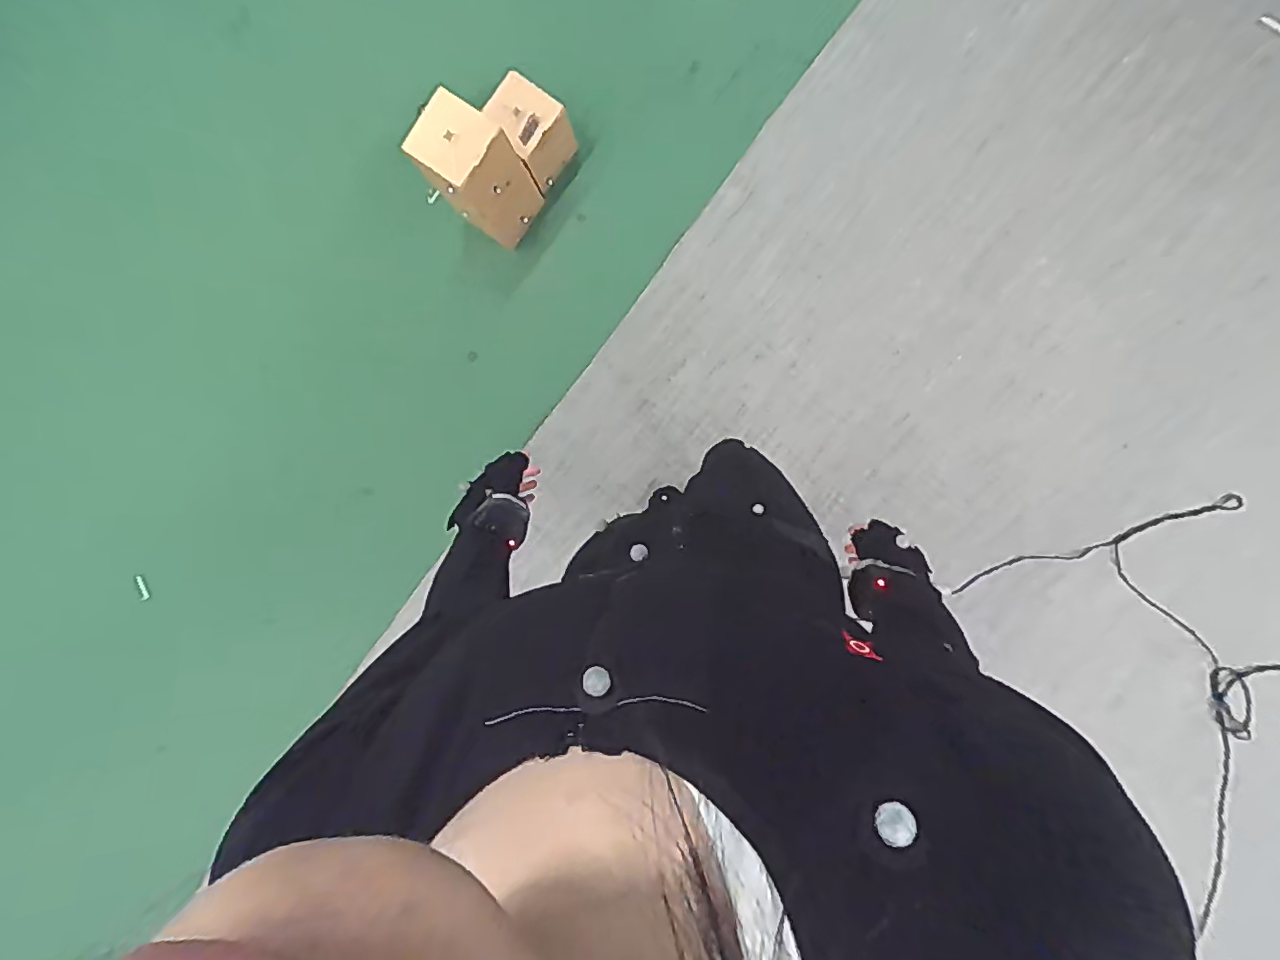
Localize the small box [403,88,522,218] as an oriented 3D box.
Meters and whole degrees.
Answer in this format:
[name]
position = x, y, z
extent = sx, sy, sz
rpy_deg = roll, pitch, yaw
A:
[small box]
position = -0.412, -0.763, 1.283
extent = 0.179, 0.176, 0.168
rpy_deg = 34, 93, 4
